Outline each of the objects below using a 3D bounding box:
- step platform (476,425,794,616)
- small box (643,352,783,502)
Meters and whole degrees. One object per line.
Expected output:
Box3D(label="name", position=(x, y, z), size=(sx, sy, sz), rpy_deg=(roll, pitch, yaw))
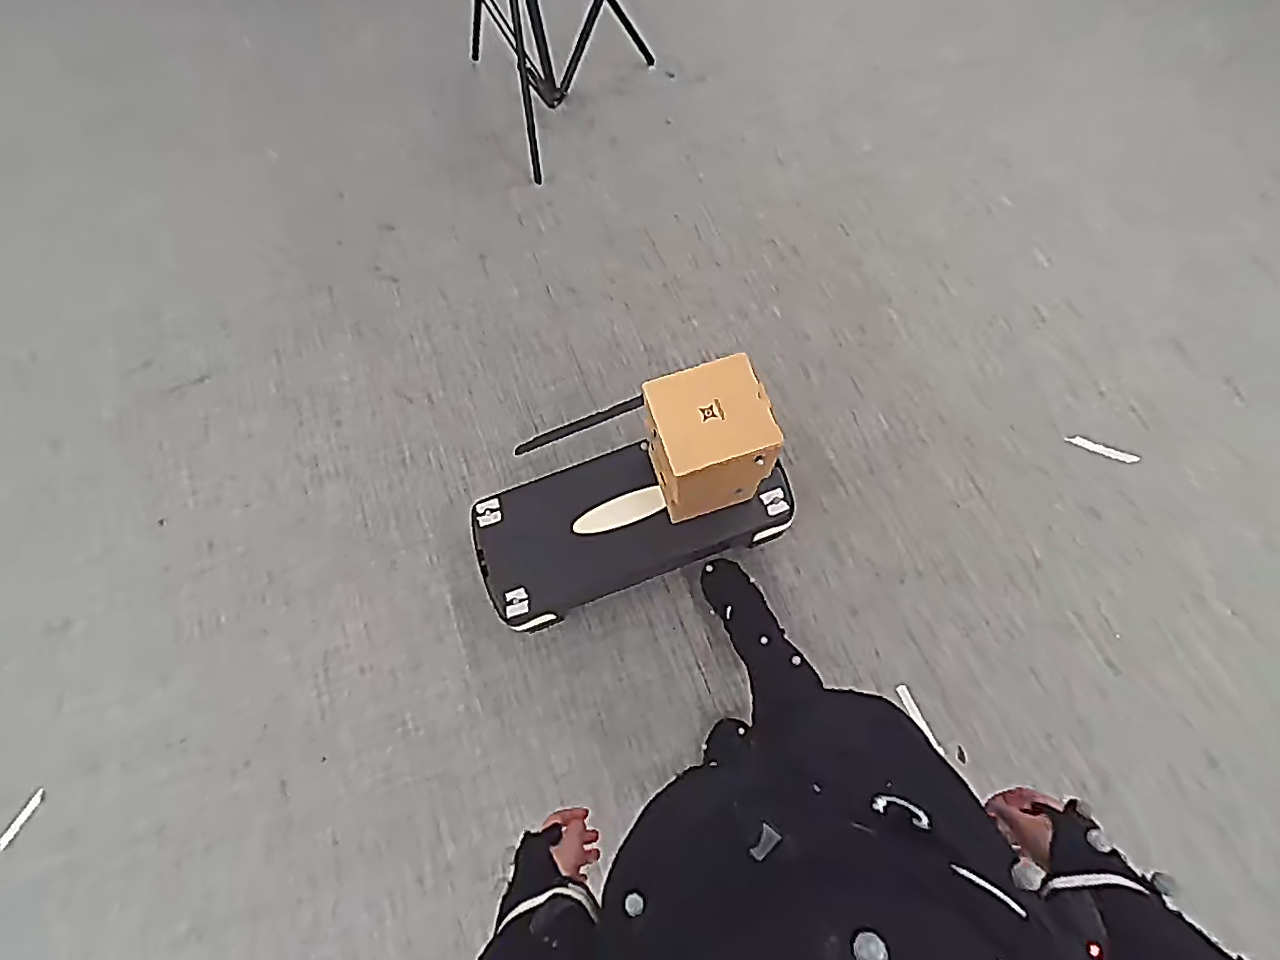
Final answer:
Box3D(label="step platform", position=(-0.011, 0.059, 1.217), size=(0.684, 0.204, 0.286), rpy_deg=(-21, 72, -2))
Box3D(label="small box", position=(0.115, -0.079, 0.897), size=(0.179, 0.176, 0.168), rpy_deg=(-18, 72, -2))
